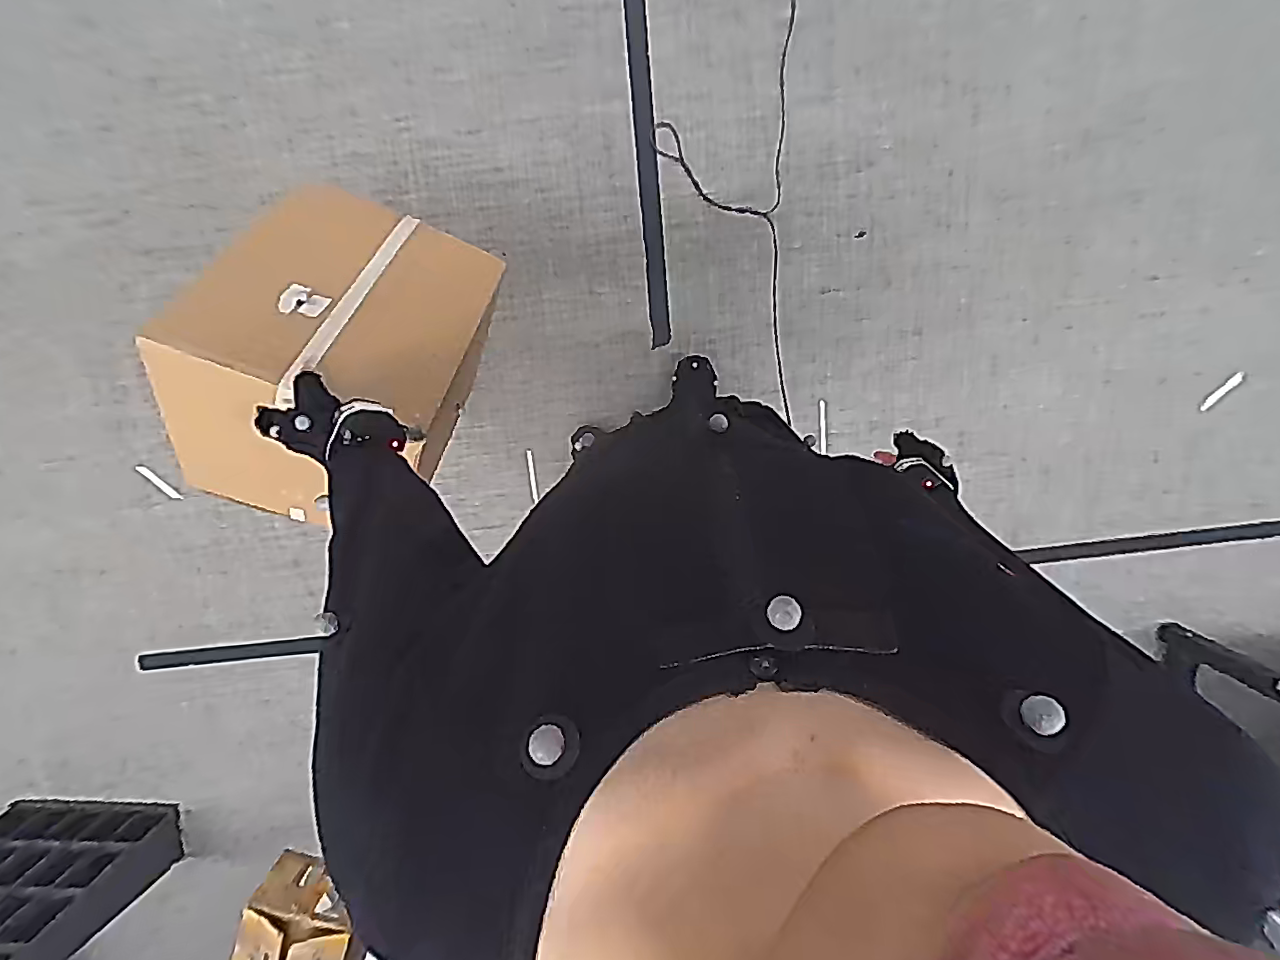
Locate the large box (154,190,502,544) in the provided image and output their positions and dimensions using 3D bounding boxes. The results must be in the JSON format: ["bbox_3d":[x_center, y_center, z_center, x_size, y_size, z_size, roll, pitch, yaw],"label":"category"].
[{"bbox_3d":[-0.450,-0.171,0.871,0.320,0.408,0.320,19,140,-15],"label":"large box"}]
